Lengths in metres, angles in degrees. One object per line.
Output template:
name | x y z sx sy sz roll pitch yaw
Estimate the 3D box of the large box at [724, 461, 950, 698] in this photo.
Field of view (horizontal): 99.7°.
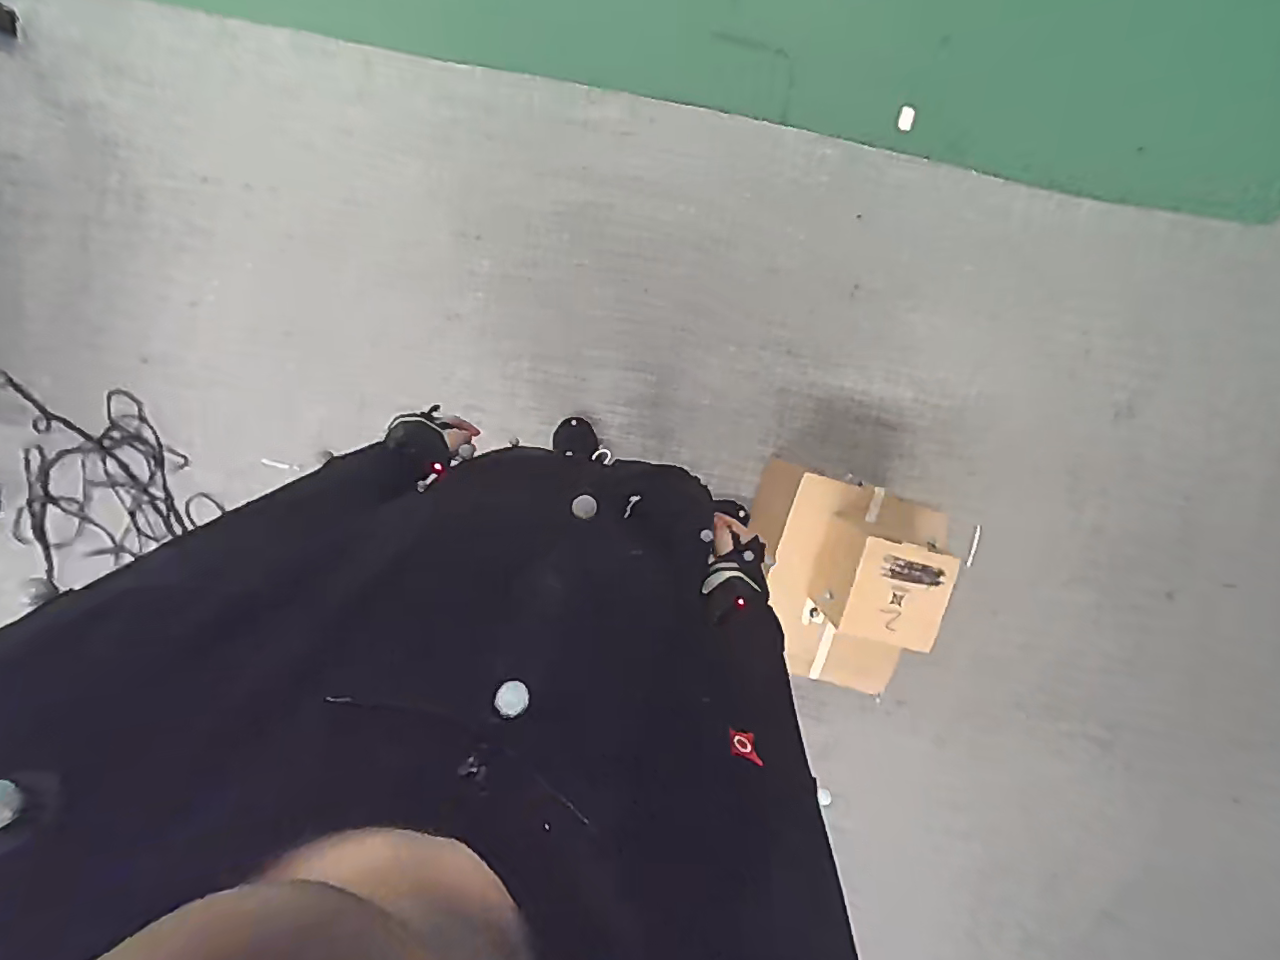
large box | 0.412 0.200 1.229 0.320 0.320 0.408 17 98 -1
